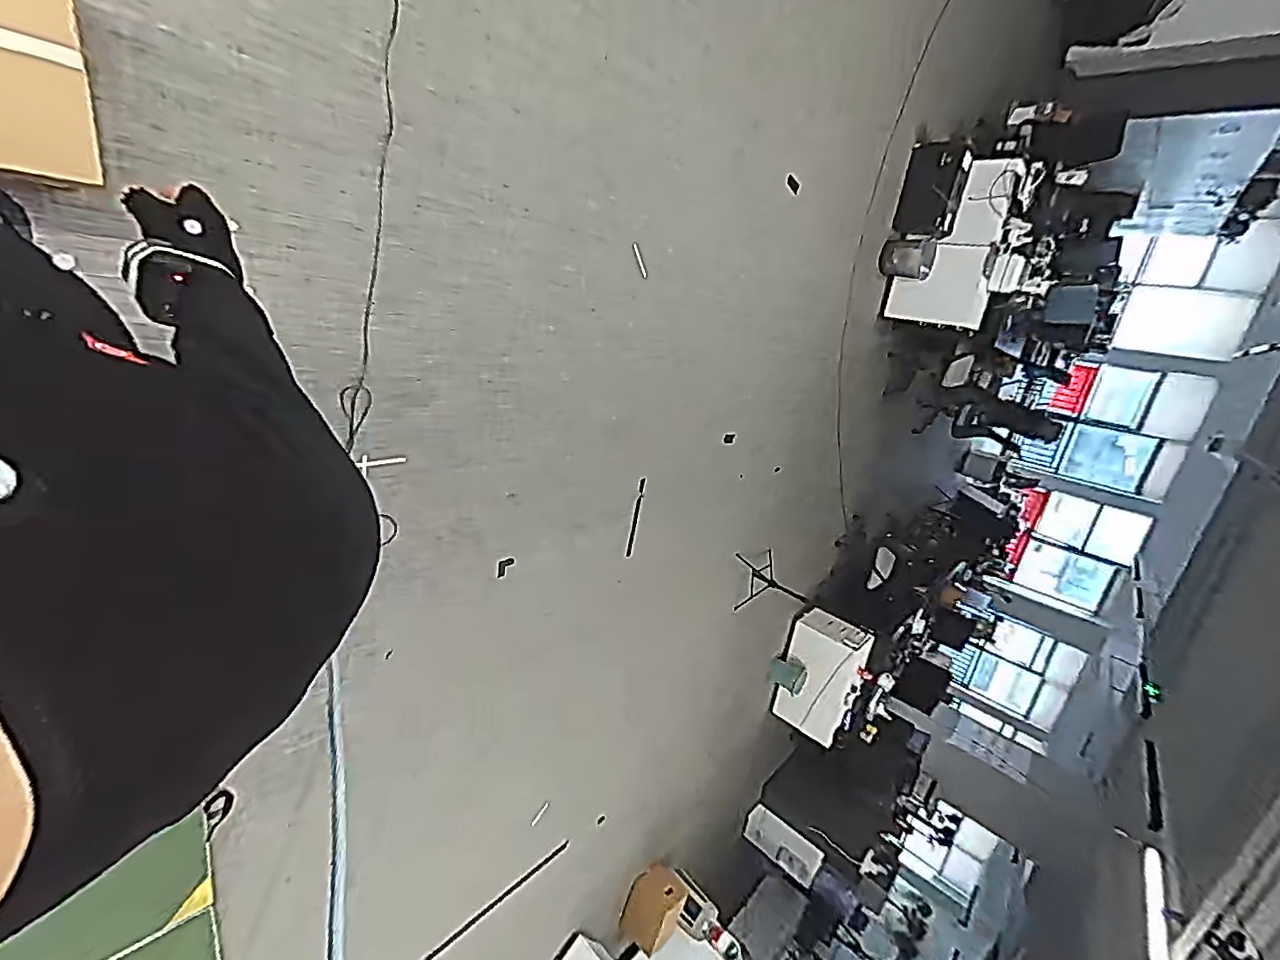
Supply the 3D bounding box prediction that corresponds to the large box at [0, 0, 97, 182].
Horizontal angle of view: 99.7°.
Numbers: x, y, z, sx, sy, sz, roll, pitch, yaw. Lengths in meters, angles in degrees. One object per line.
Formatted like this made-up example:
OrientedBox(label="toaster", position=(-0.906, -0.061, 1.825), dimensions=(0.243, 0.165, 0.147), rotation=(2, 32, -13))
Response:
OrientedBox(label="large box", position=(-1.032, -0.602, 0.698), dimensions=(0.408, 0.320, 0.320), rotation=(-14, 119, -48))
